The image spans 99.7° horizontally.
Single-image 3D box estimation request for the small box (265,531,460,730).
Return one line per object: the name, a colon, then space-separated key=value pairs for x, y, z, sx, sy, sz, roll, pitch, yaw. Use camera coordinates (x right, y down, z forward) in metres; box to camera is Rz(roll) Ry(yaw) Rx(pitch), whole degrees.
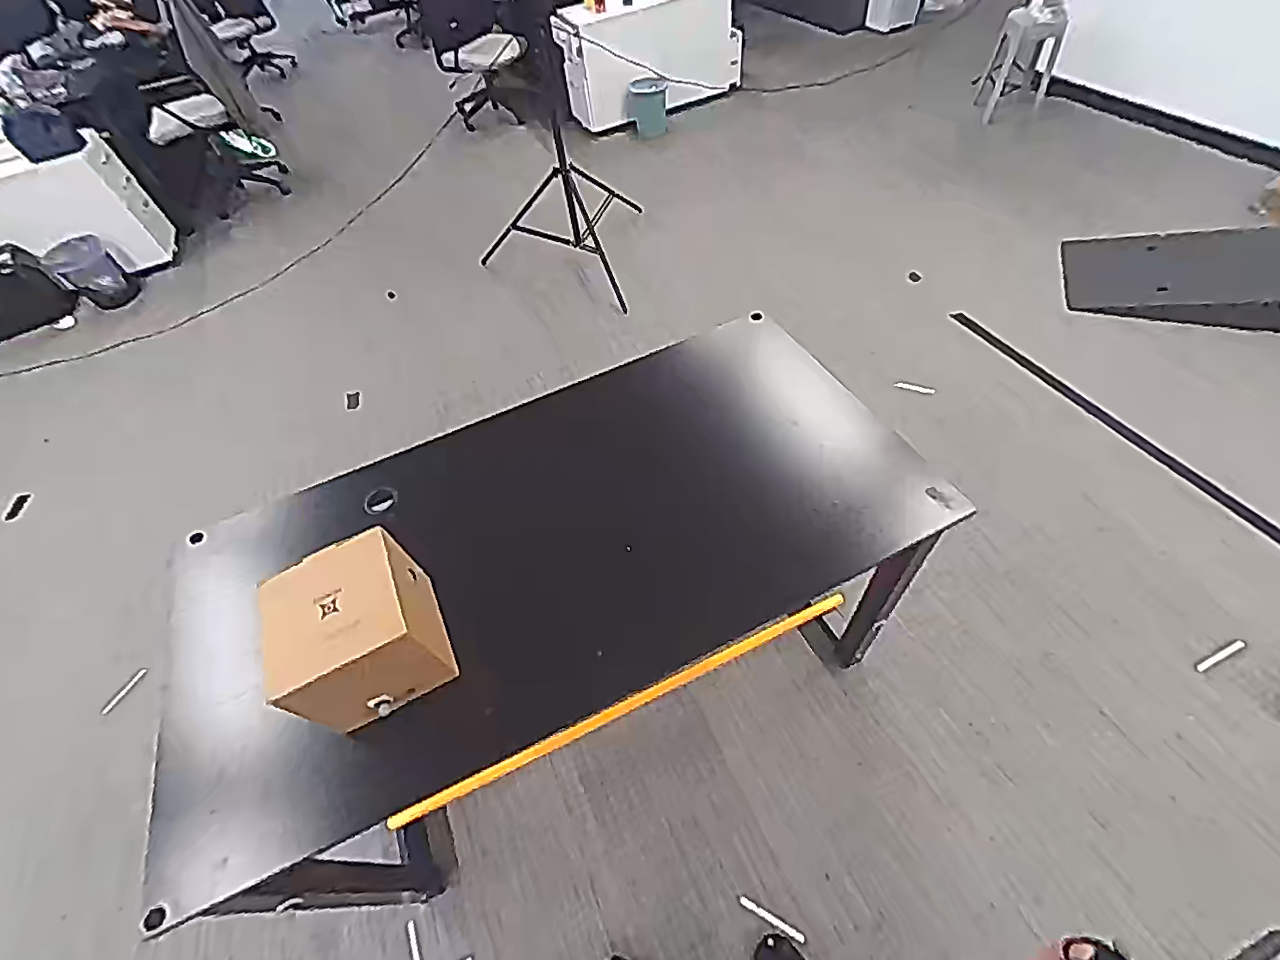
small box: x=-0.372 y=0.208 z=0.739 sx=0.168 sy=0.176 sz=0.179 roll=-27 pitch=55 yaw=-12
